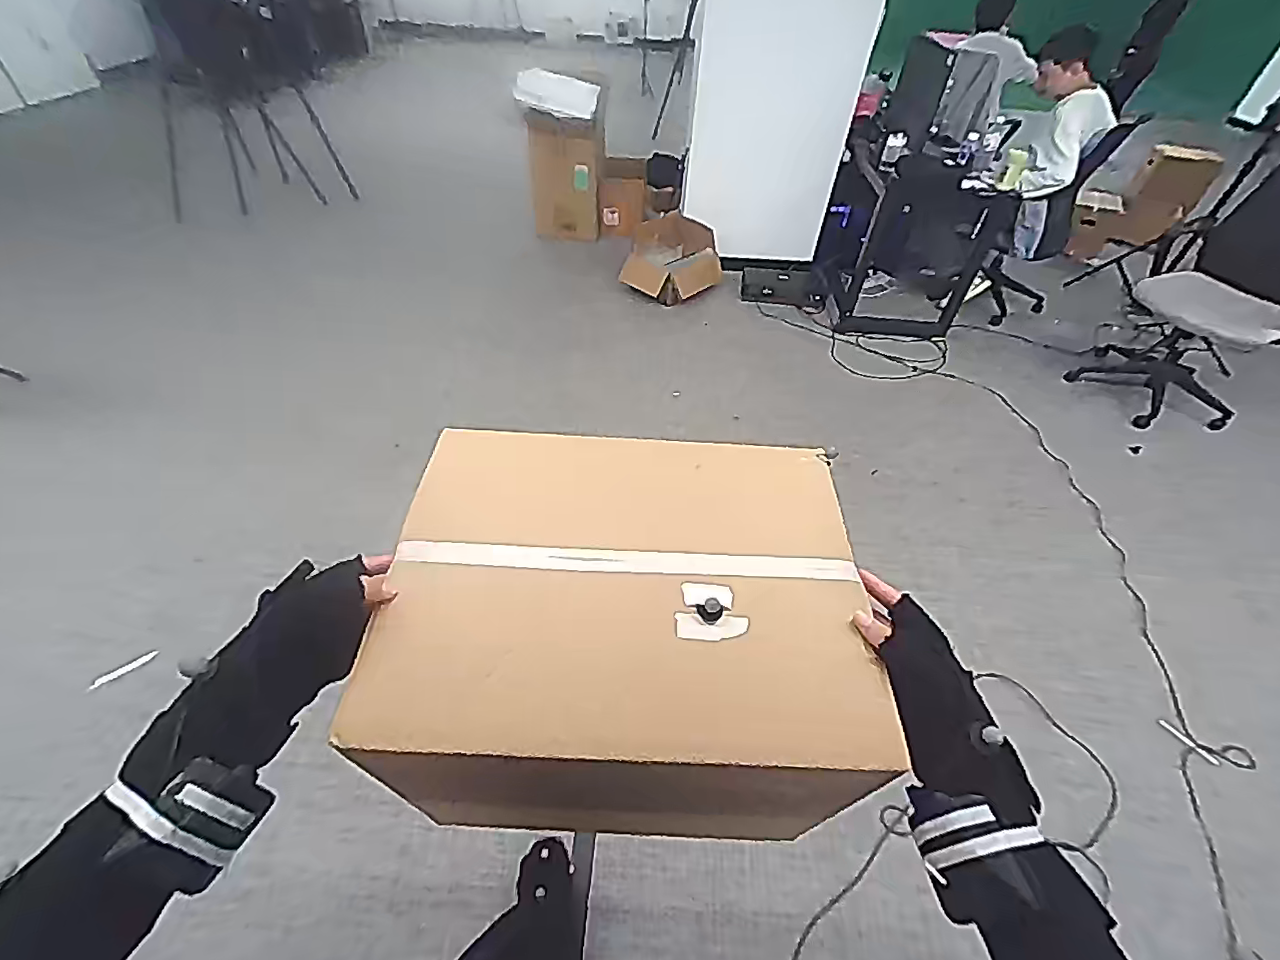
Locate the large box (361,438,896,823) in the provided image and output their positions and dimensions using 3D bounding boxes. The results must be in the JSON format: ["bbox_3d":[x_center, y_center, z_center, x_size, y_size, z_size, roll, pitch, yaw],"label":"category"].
[{"bbox_3d":[-0.013,0.175,0.602,0.408,0.320,0.320,3,49,-2],"label":"large box"}]
